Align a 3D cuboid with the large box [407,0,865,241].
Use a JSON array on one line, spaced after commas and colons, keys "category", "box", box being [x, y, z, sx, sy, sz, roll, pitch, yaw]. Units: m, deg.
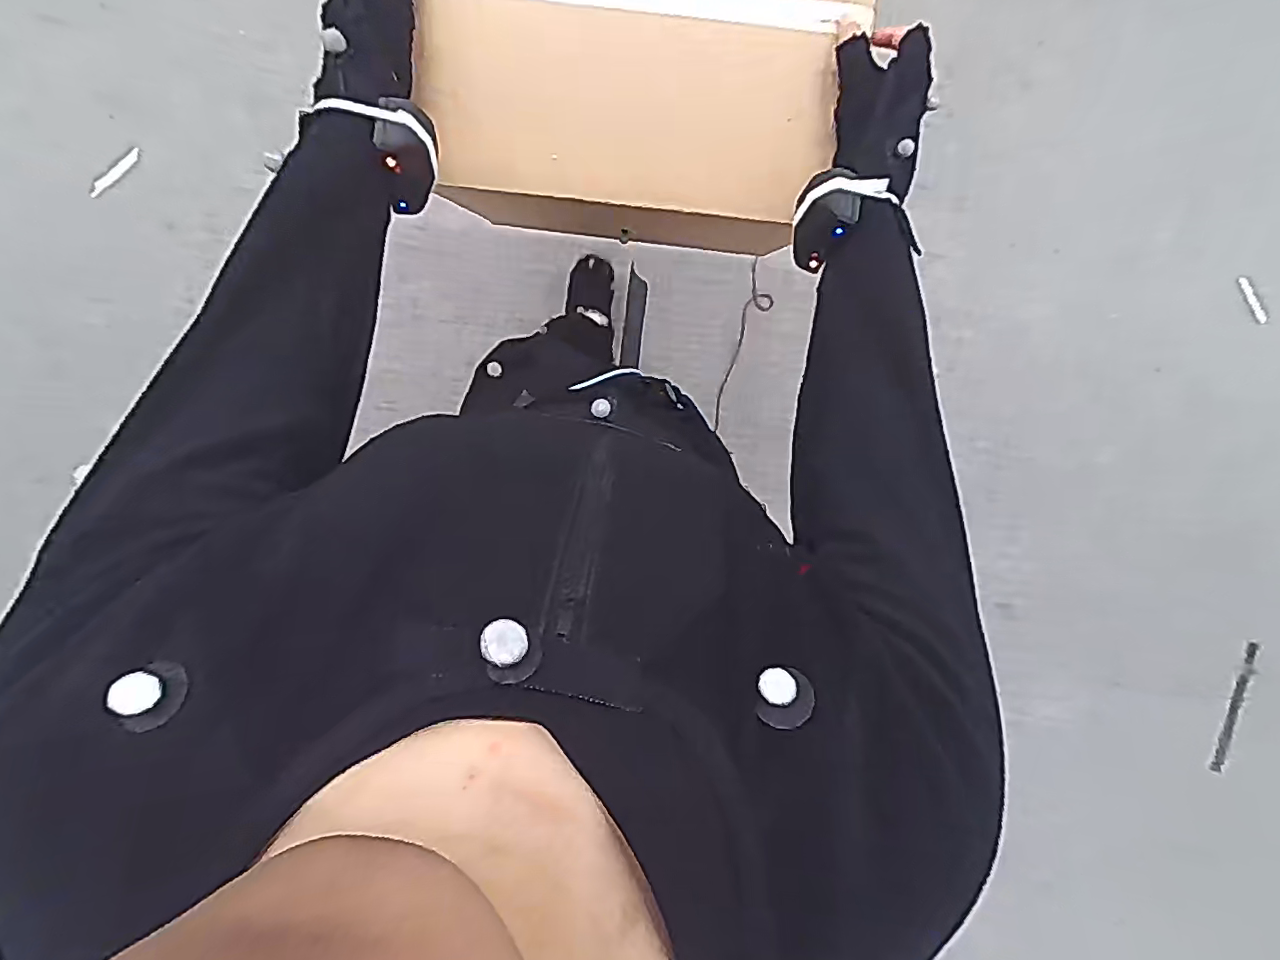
[{"category": "large box", "box": [0.001, -0.464, 0.608, 0.408, 0.320, 0.320, 6, 107, -1]}]
